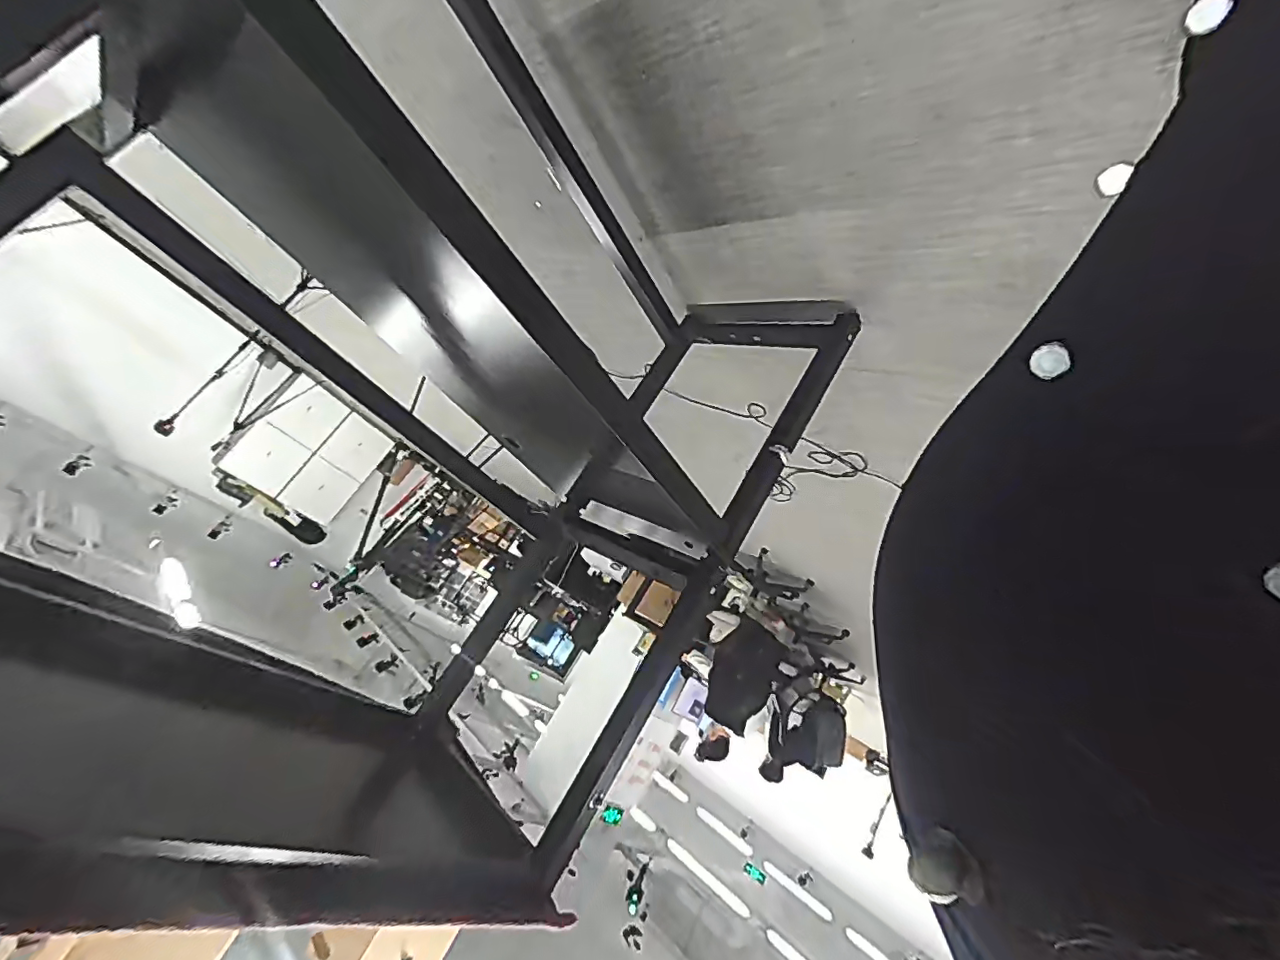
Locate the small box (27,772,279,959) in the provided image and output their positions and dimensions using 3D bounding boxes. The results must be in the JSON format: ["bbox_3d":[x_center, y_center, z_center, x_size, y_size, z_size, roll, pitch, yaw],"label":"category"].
[{"bbox_3d":[-0.612,0.513,0.696,0.168,0.176,0.179,19,158,45],"label":"small box"}]
